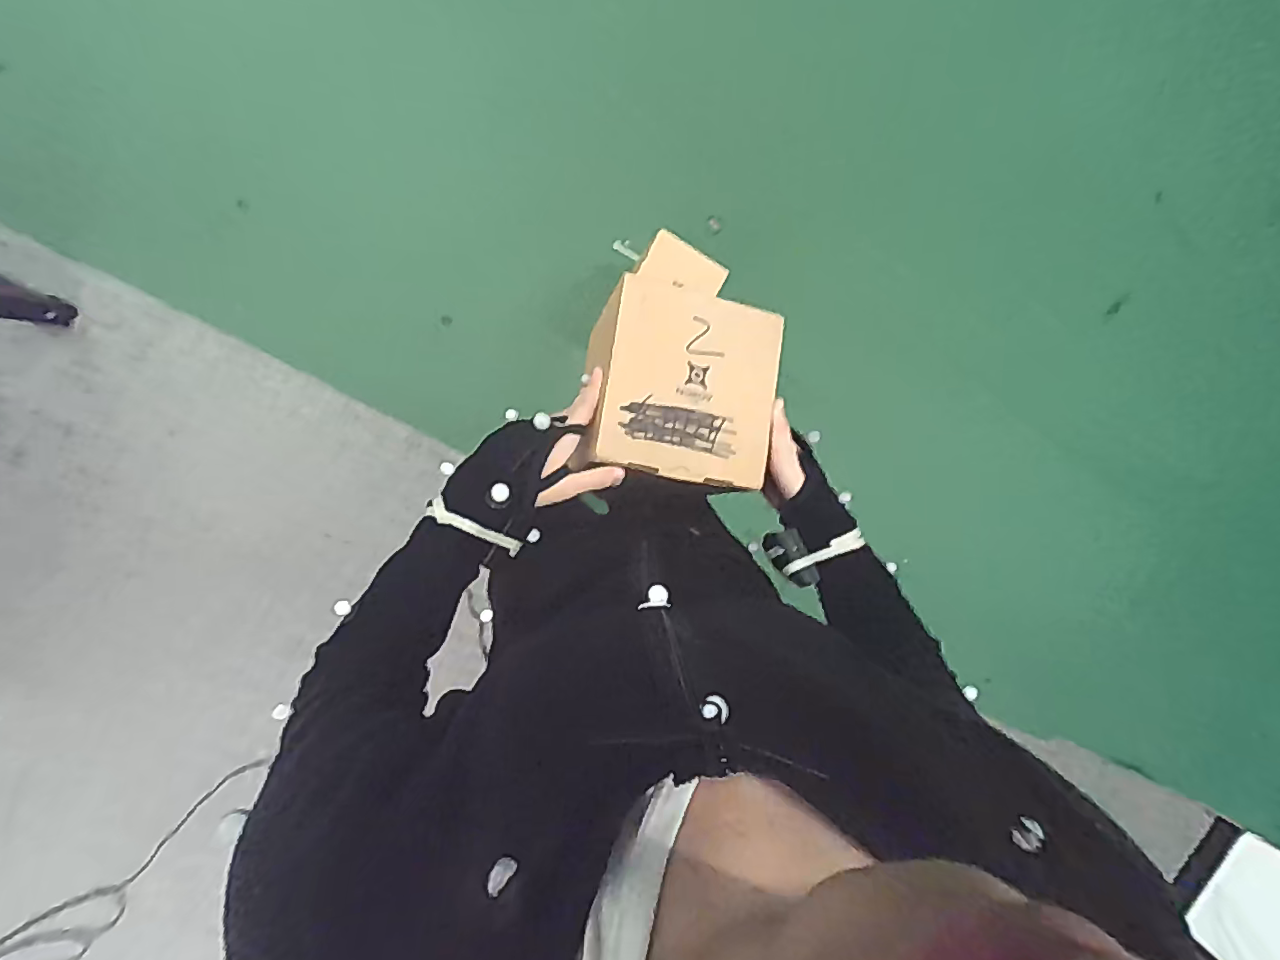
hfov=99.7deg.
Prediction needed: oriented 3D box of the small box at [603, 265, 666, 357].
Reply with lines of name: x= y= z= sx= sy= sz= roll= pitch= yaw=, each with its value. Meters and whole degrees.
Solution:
small box: x=0.020 y=-0.419 z=1.316 sx=0.168 sy=0.176 sz=0.179 roll=29 pitch=94 yaw=-13

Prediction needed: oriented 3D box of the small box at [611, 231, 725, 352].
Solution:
small box: x=0.049 y=-0.393 z=1.159 sx=0.168 sy=0.176 sz=0.179 roll=27 pitch=94 yaw=-14
